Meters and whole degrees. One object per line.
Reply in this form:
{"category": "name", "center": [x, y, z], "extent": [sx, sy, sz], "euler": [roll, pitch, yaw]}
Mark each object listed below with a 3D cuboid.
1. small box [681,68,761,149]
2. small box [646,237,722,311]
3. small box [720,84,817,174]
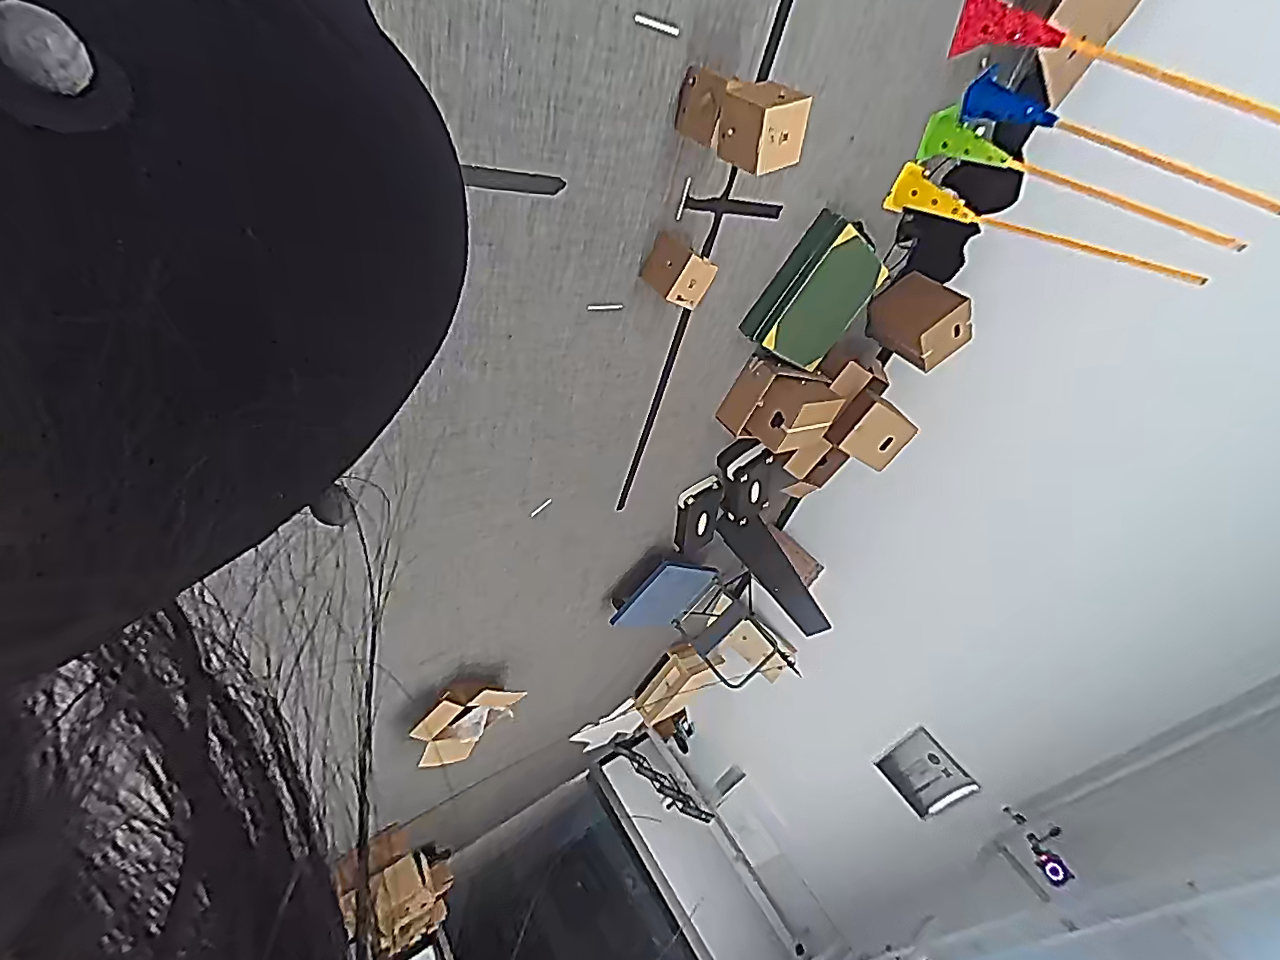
{"category": "small box", "center": [0.248, -1.083, 1.588], "extent": [0.179, 0.176, 0.168], "euler": [-19, 142, -34]}
{"category": "small box", "center": [0.152, -0.736, 1.927], "extent": [0.168, 0.176, 0.179], "euler": [-3, 134, -47]}
{"category": "small box", "center": [0.351, -0.983, 1.508], "extent": [0.179, 0.176, 0.168], "euler": [-25, 144, -22]}
